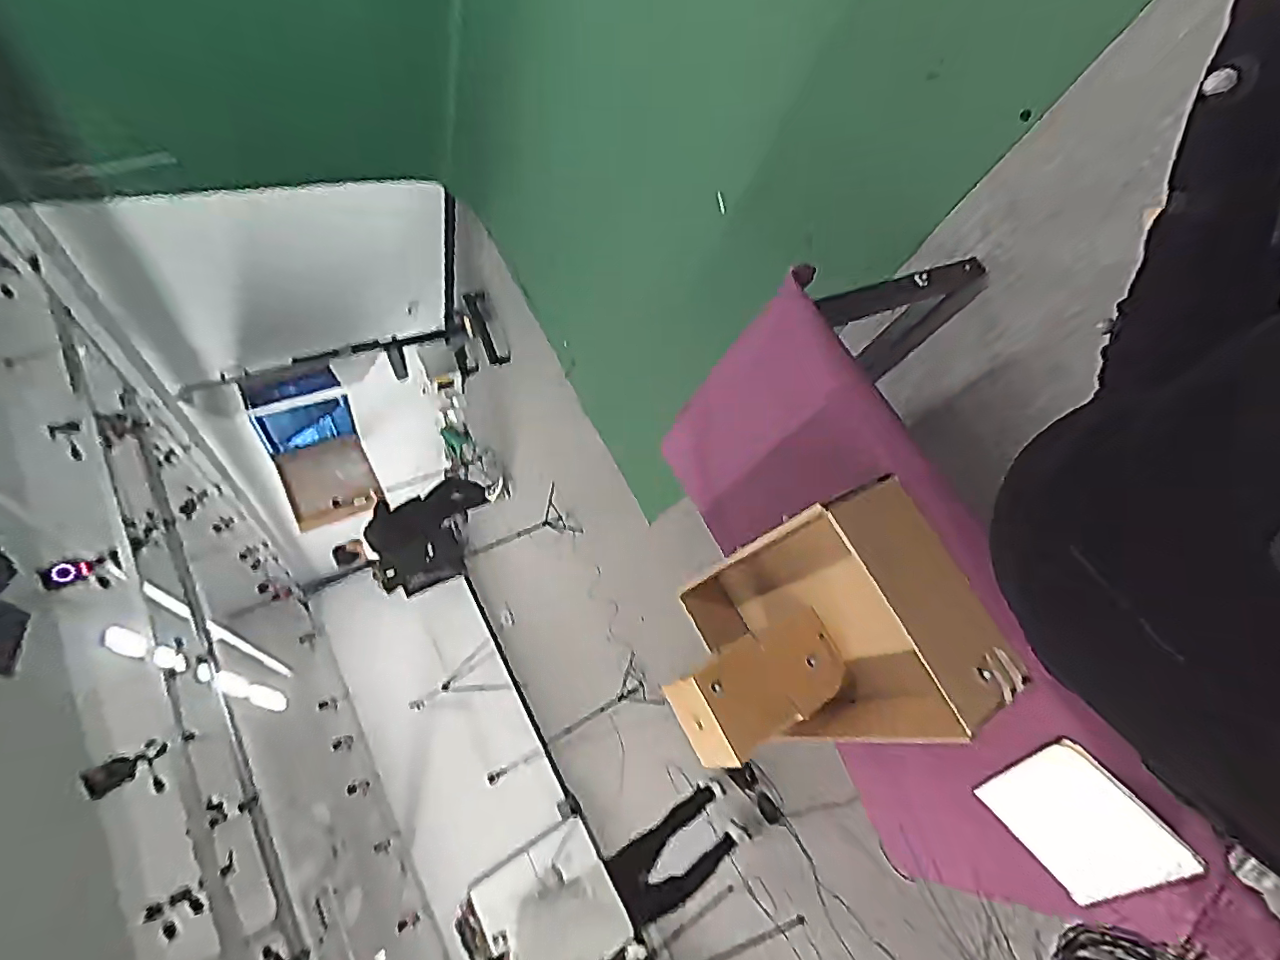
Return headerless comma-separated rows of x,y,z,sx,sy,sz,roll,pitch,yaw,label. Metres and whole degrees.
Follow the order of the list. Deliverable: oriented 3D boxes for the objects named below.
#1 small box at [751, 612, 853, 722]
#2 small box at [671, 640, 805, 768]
0.331,0.407,1.173,0.168,0.176,0.179,61,150,13,small box
0.197,0.452,1.095,0.179,0.176,0.168,60,150,16,small box
